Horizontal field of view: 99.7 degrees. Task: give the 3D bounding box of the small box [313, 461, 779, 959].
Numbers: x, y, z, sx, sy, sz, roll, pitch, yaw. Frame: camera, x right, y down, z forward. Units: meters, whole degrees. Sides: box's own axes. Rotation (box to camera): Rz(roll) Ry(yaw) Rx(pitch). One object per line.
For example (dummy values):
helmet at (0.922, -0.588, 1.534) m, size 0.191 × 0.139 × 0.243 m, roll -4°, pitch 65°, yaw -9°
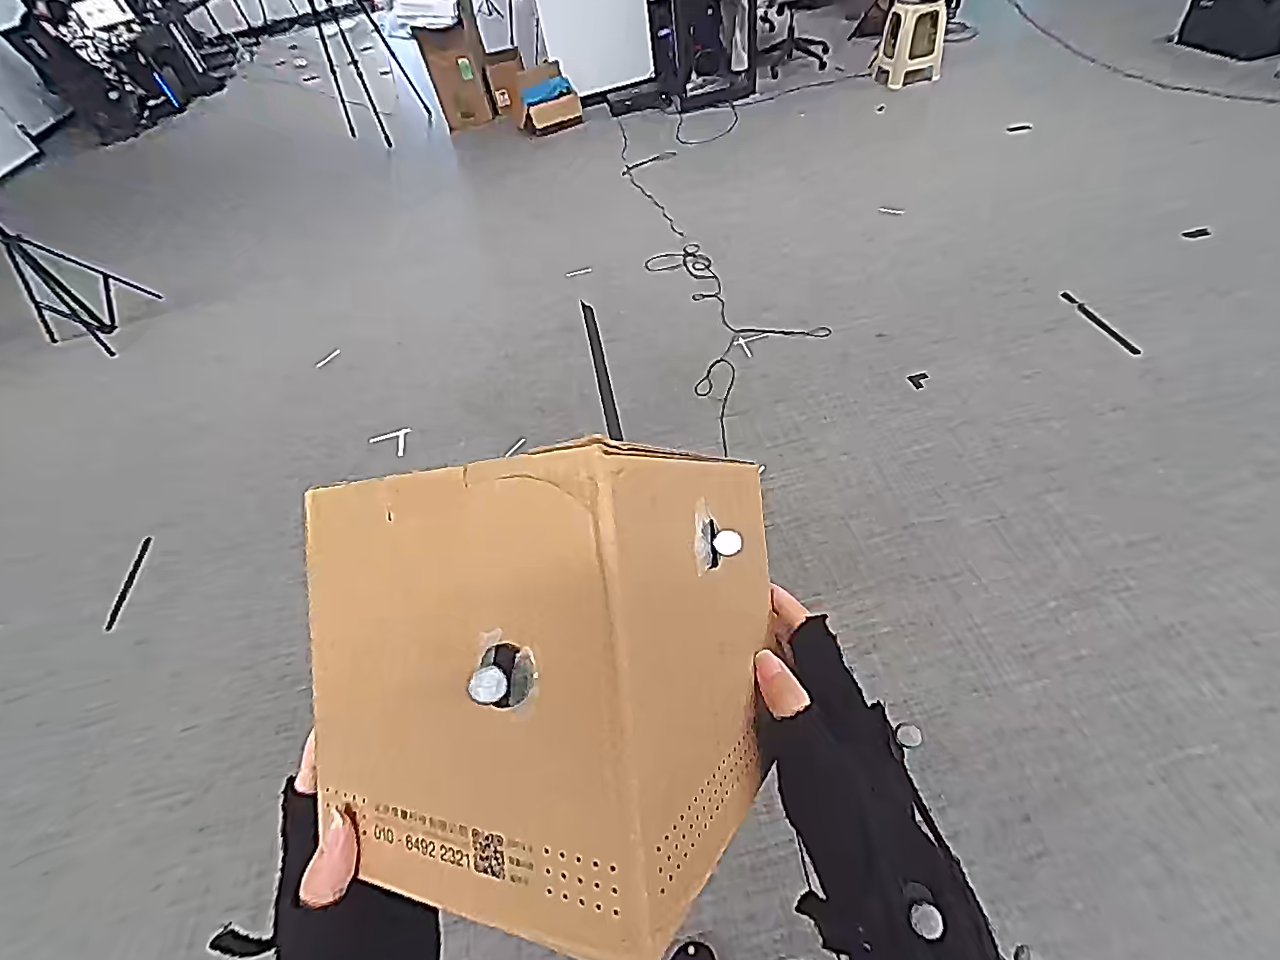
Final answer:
small box at (-0.033, 0.087, 0.280) m, size 0.168 × 0.179 × 0.176 m, roll -6°, pitch 86°, yaw 28°
